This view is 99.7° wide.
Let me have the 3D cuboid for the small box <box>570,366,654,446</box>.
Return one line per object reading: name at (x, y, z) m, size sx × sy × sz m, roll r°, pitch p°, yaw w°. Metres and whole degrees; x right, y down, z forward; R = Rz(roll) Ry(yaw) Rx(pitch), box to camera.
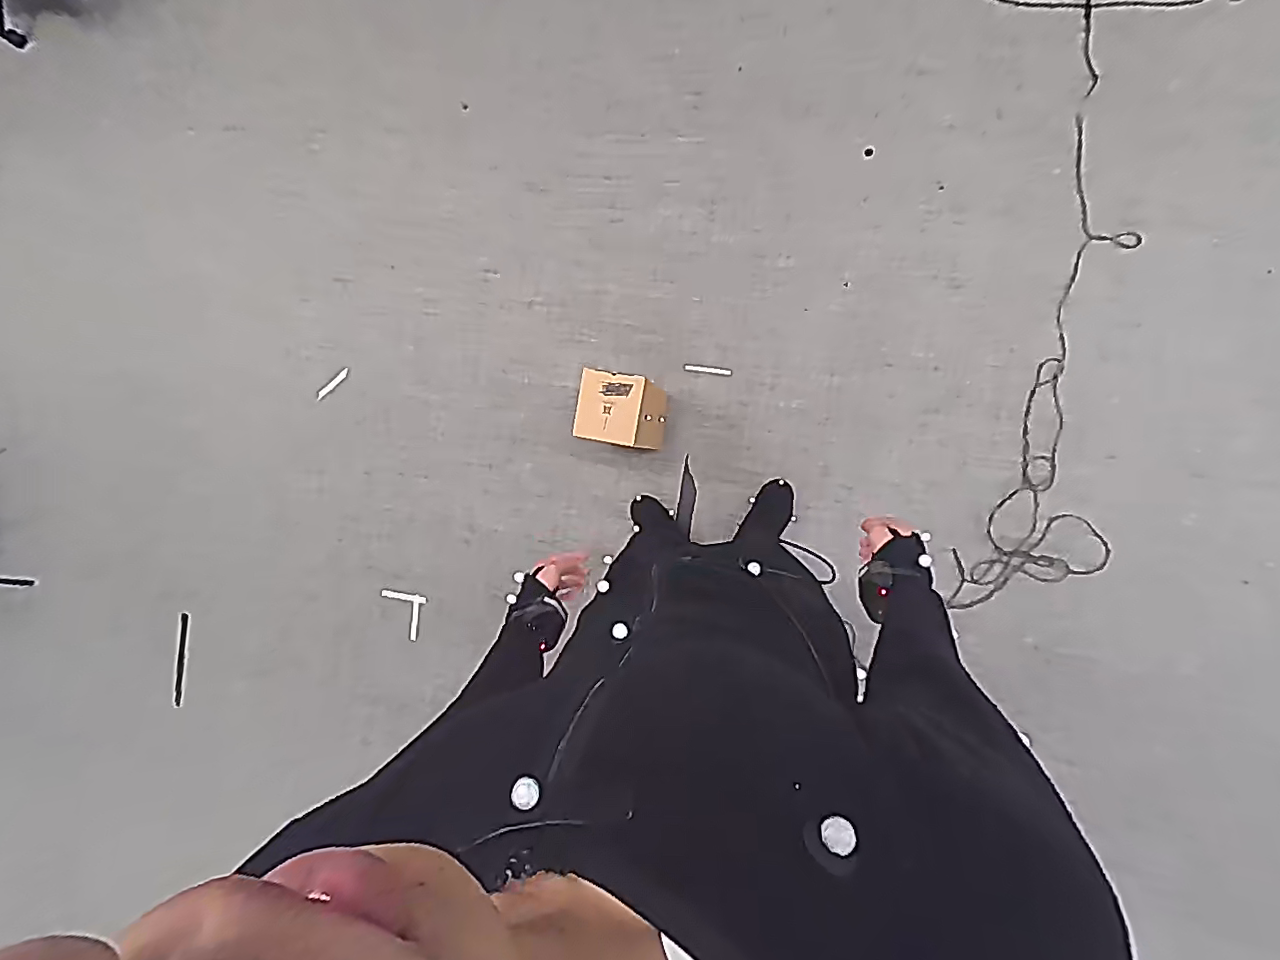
small box at (-0.066, -0.189, 1.421) m, size 0.168 × 0.176 × 0.179 m, roll 11°, pitch 95°, yaw 13°
